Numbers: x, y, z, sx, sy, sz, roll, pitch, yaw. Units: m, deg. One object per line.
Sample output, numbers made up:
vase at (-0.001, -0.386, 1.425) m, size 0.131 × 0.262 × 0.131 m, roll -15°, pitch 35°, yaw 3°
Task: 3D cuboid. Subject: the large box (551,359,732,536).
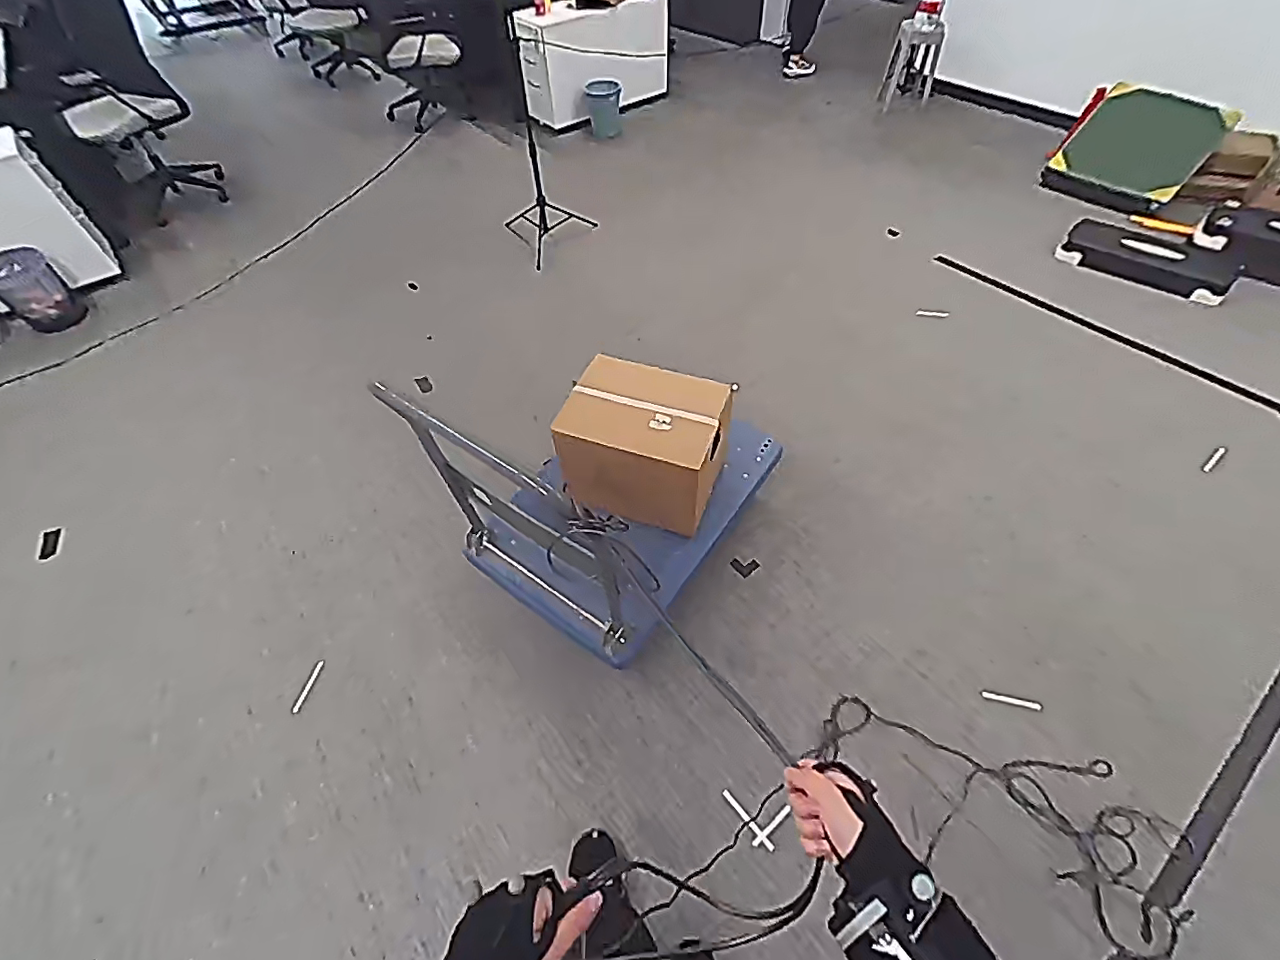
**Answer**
large box at (0.010, -0.092, 1.521) m, size 0.408 × 0.320 × 0.320 m, roll 16°, pitch 56°, yaw 13°
